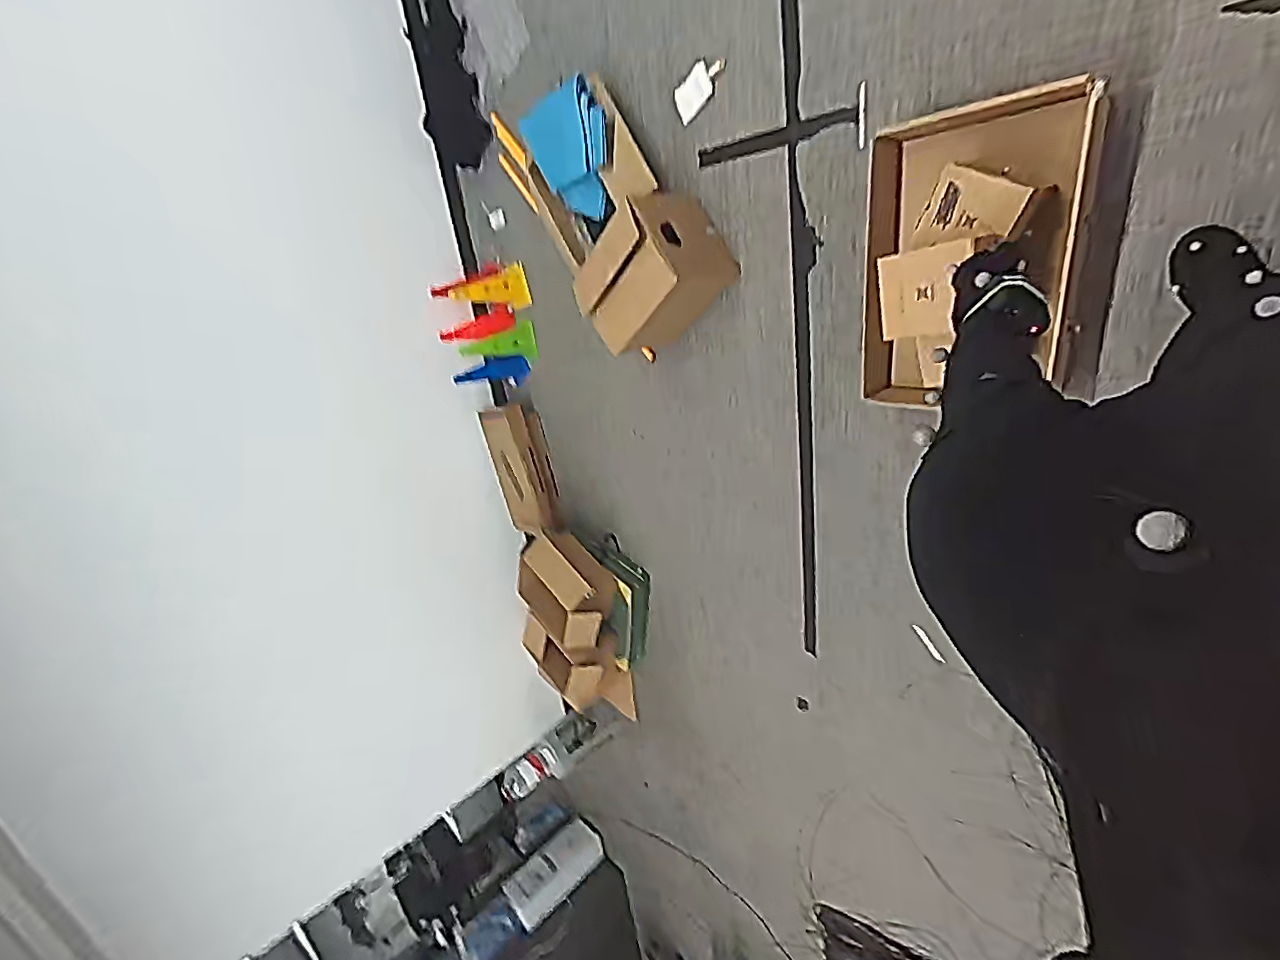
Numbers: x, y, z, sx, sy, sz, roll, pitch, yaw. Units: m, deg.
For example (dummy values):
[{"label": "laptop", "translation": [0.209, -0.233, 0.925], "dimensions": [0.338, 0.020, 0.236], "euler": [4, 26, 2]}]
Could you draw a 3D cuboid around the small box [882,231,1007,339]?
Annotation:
[{"label": "small box", "translation": [0.615, -0.390, 1.084], "dimensions": [0.179, 0.176, 0.168], "euler": [6, 113, 50]}]
